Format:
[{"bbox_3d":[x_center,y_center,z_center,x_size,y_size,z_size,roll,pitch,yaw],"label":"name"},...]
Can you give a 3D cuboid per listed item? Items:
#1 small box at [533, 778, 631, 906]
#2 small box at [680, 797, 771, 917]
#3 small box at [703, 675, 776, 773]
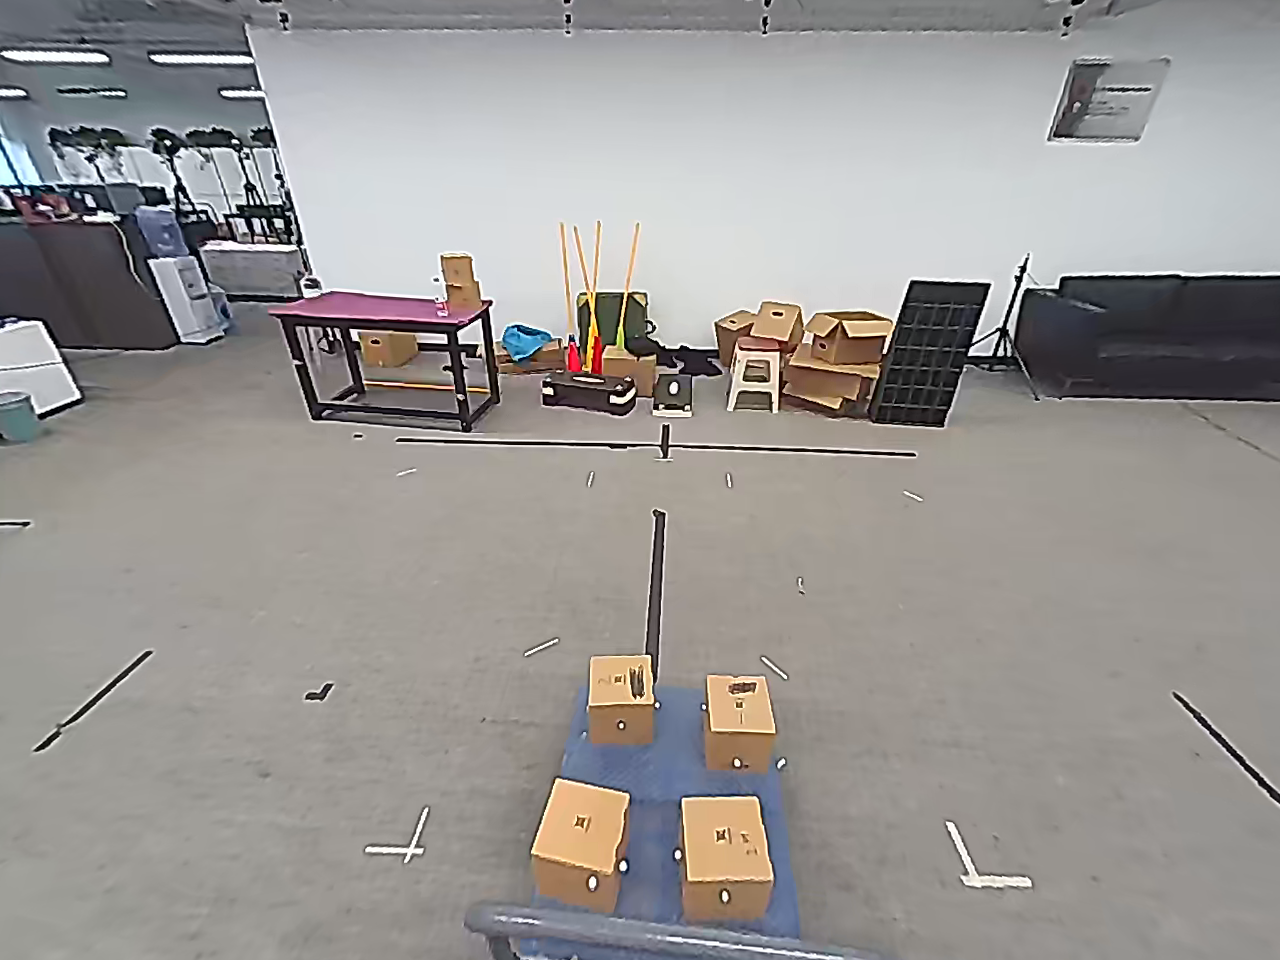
[{"bbox_3d":[-0.124,0.808,1.208,0.179,0.176,0.168,8,30,9],"label":"small box"},{"bbox_3d":[0.178,0.826,1.186,0.179,0.176,0.168,1,30,0],"label":"small box"},{"bbox_3d":[0.263,0.661,1.471,0.168,0.176,0.179,2,31,2],"label":"small box"}]
